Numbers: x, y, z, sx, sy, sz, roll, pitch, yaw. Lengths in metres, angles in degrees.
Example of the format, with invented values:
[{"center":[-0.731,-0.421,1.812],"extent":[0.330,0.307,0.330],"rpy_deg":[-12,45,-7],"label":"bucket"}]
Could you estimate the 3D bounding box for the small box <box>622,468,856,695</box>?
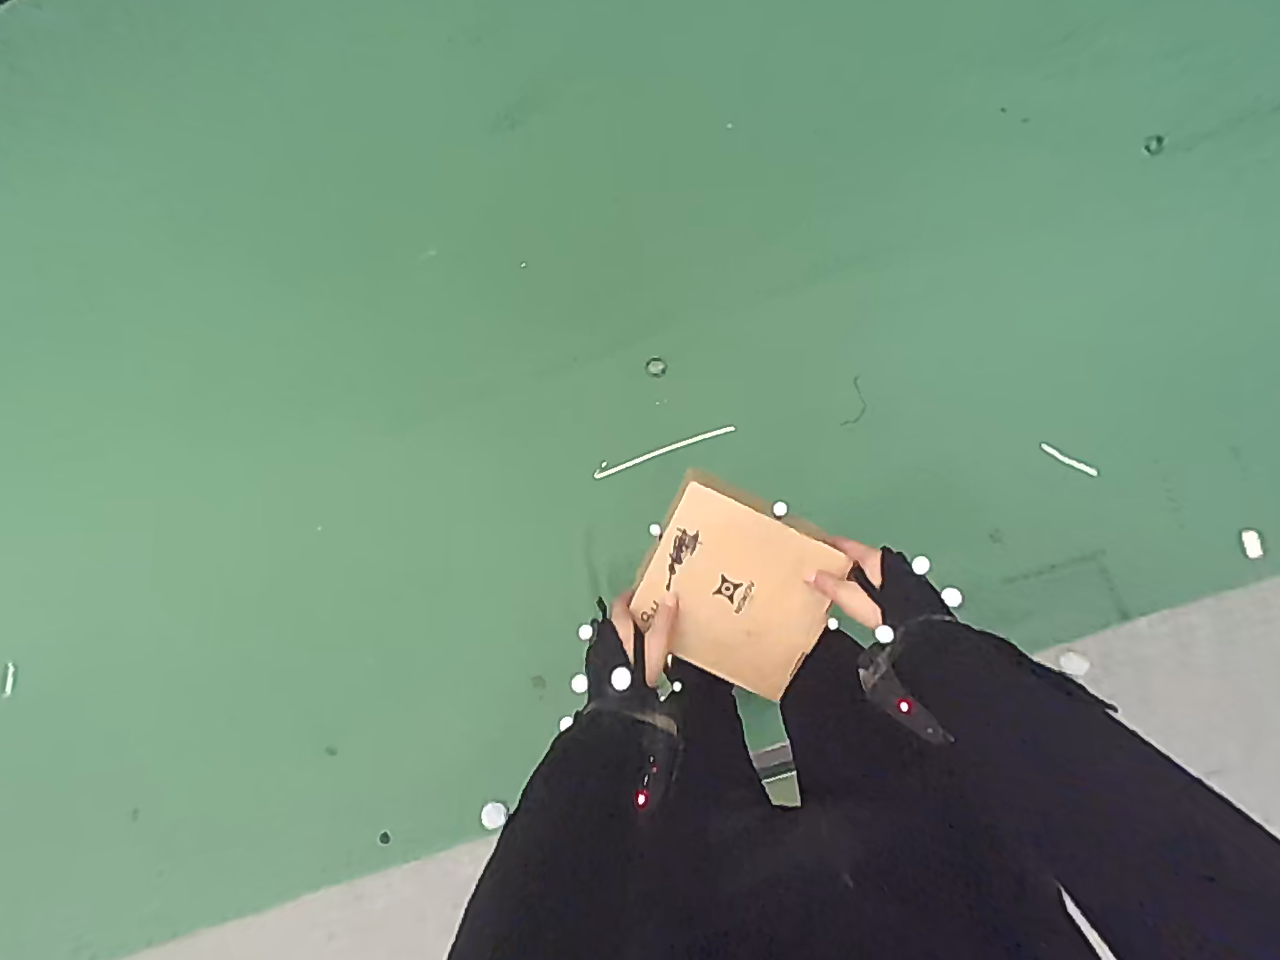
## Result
[{"center":[0.100,0.095,0.603],"extent":[0.179,0.176,0.168],"rpy_deg":[27,97,1],"label":"small box"}]
